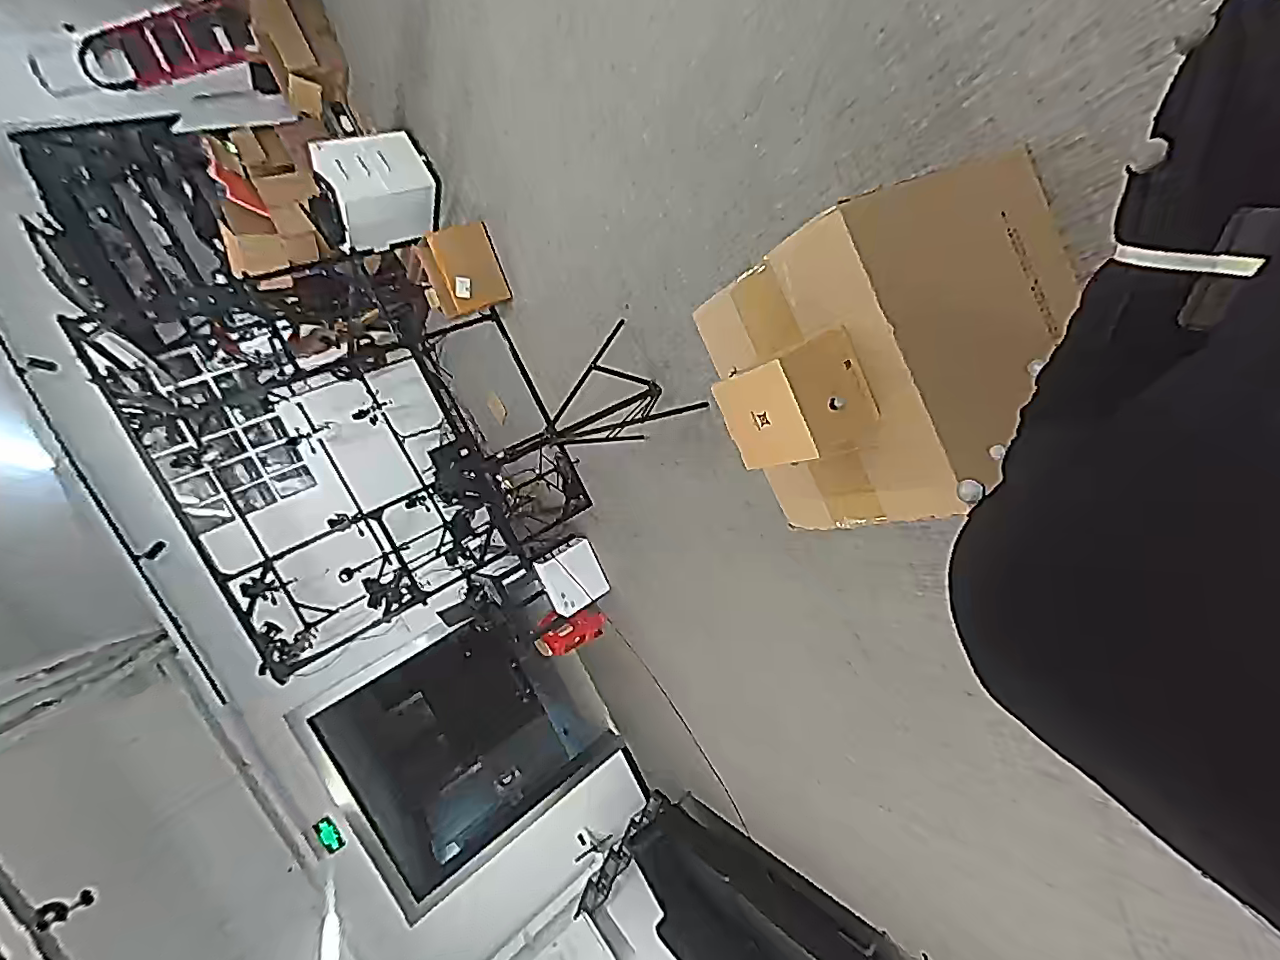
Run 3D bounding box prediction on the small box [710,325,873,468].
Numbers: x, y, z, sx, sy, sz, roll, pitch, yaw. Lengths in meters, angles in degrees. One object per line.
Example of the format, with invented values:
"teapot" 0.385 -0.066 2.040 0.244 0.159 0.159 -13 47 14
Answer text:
"small box" 0.256 -0.136 0.899 0.179 0.176 0.168 -12 106 62
